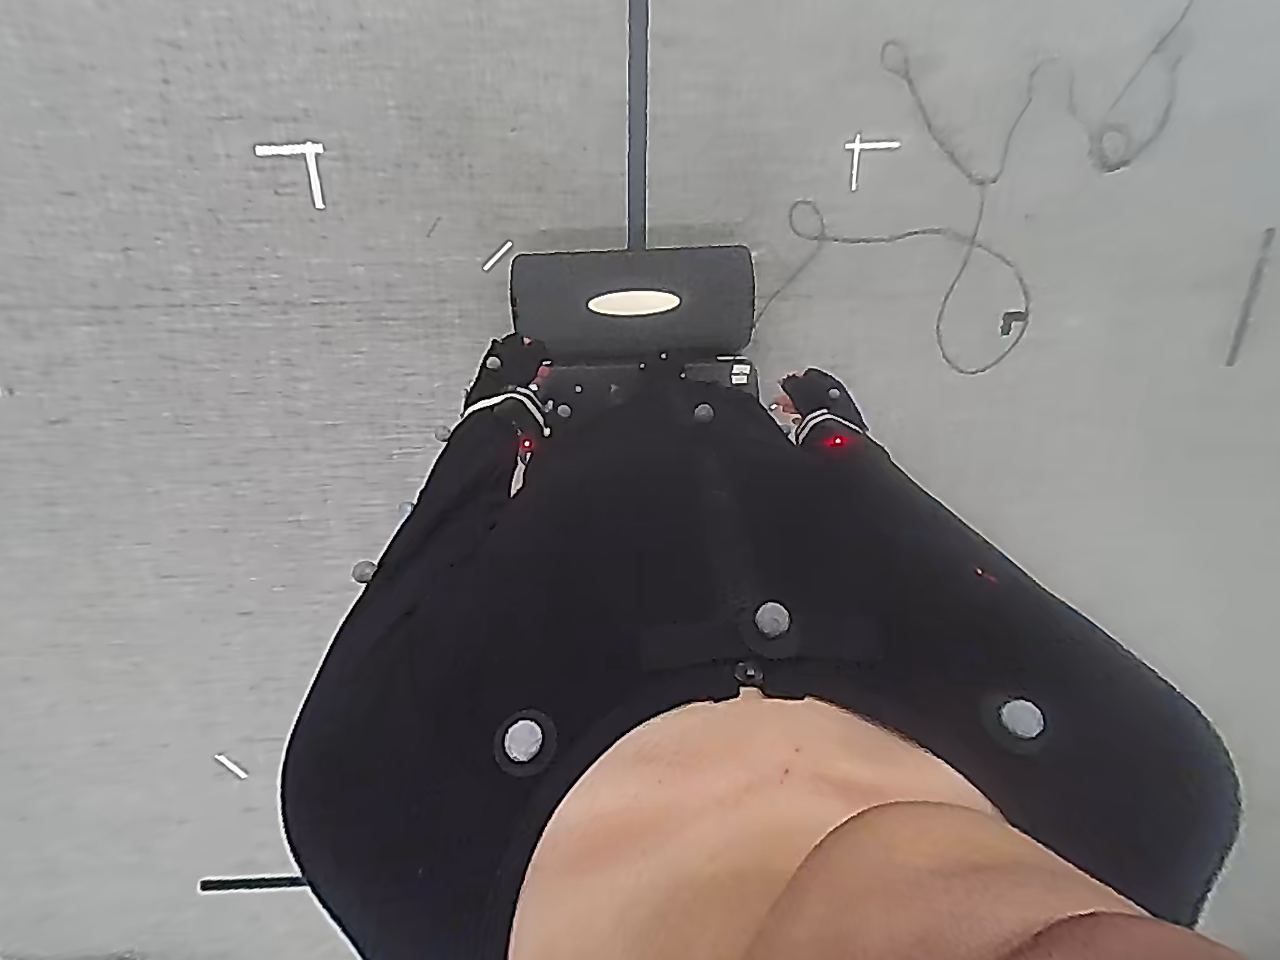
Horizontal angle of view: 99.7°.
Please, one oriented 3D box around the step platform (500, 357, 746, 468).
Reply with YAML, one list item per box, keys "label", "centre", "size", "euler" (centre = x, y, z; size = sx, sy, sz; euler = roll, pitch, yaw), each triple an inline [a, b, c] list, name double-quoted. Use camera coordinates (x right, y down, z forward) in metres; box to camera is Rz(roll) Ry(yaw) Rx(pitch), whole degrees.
- label: "step platform"
  centre: [-0.046, -0.193, 1.539]
  size: [0.684, 0.204, 0.286]
  euler: [-2, 105, -1]
